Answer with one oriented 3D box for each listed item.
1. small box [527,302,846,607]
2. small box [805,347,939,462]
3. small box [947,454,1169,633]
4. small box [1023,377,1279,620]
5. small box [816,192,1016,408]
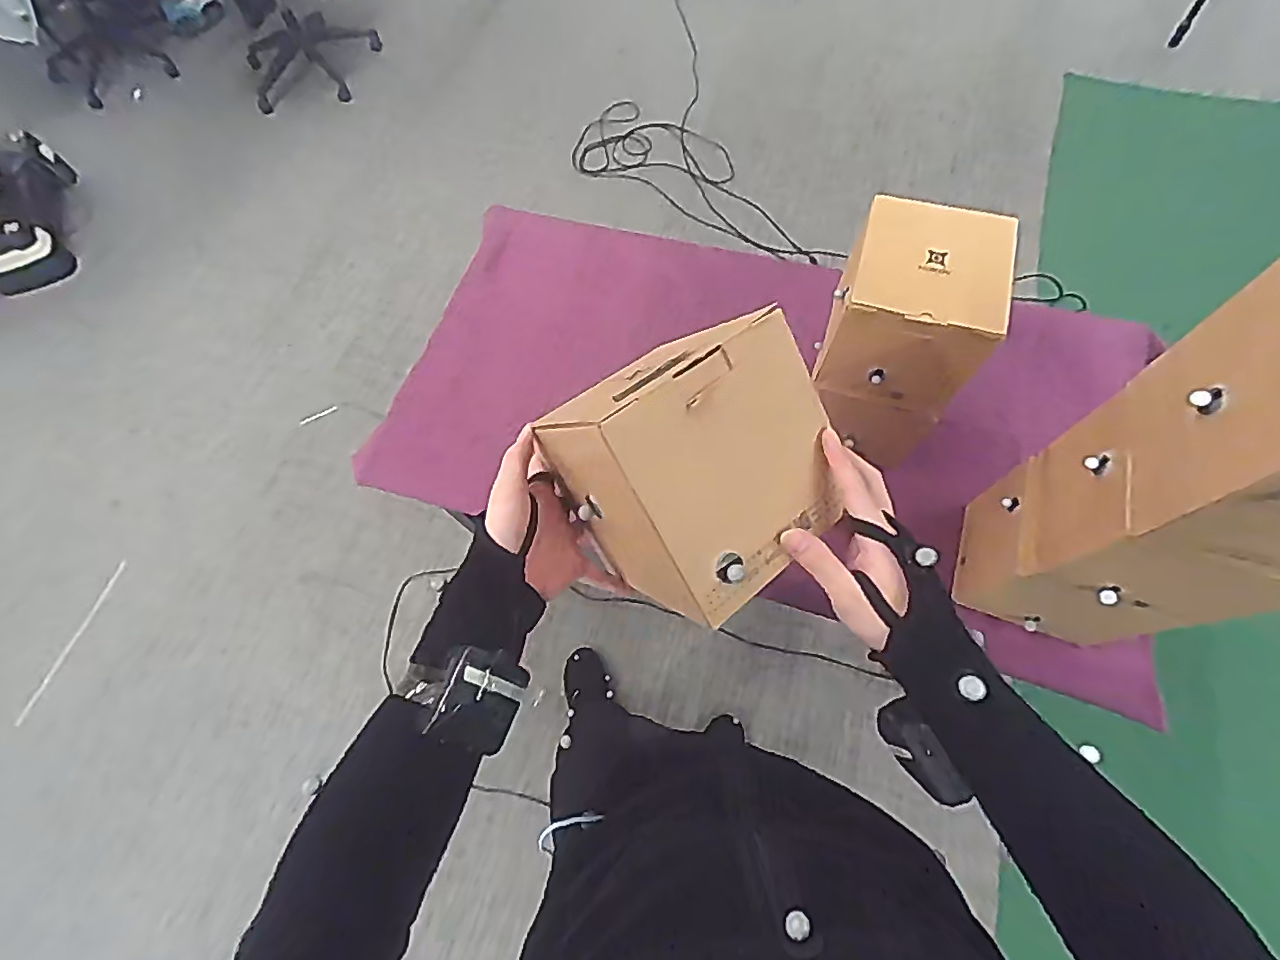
[{"bbox_3d":[0.037,-0.019,0.451,0.168,0.179,0.176,-35,109,-21],"label":"small box"},{"bbox_3d":[0.353,-0.155,0.835,0.168,0.176,0.179,19,70,11],"label":"small box"},{"bbox_3d":[0.547,0.094,0.720,0.179,0.176,0.168,19,69,12],"label":"small box"},{"bbox_3d":[0.542,0.027,0.570,0.168,0.176,0.179,18,69,13],"label":"small box"},{"bbox_3d":[0.337,-0.220,0.686,0.168,0.176,0.179,17,71,9],"label":"small box"}]
